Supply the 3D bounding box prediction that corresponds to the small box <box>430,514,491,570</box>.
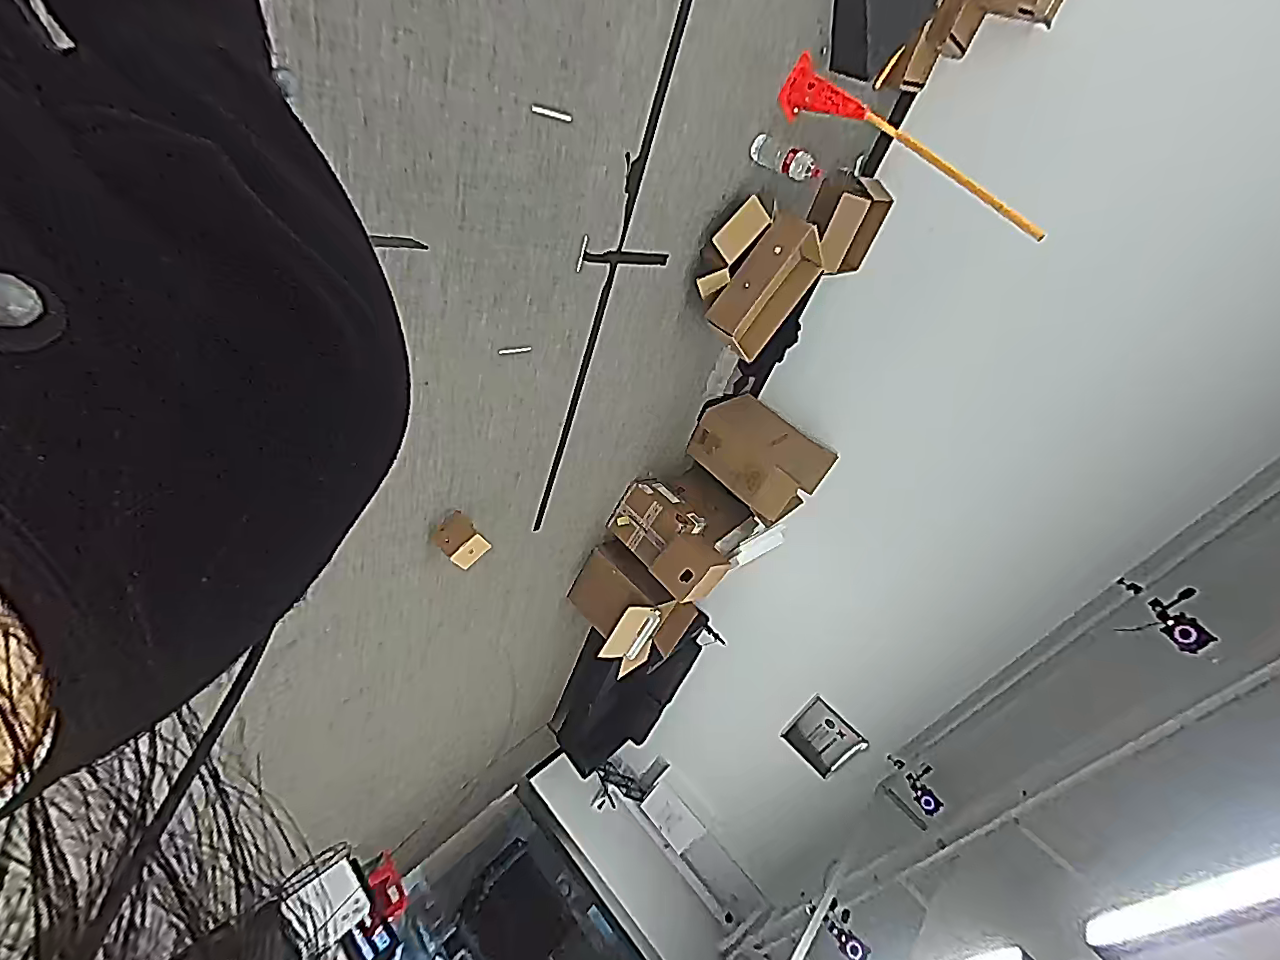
[{"bbox_3d":[-0.830,0.280,2.494,0.168,0.176,0.179,-43,157,-12],"label":"small box"}]
